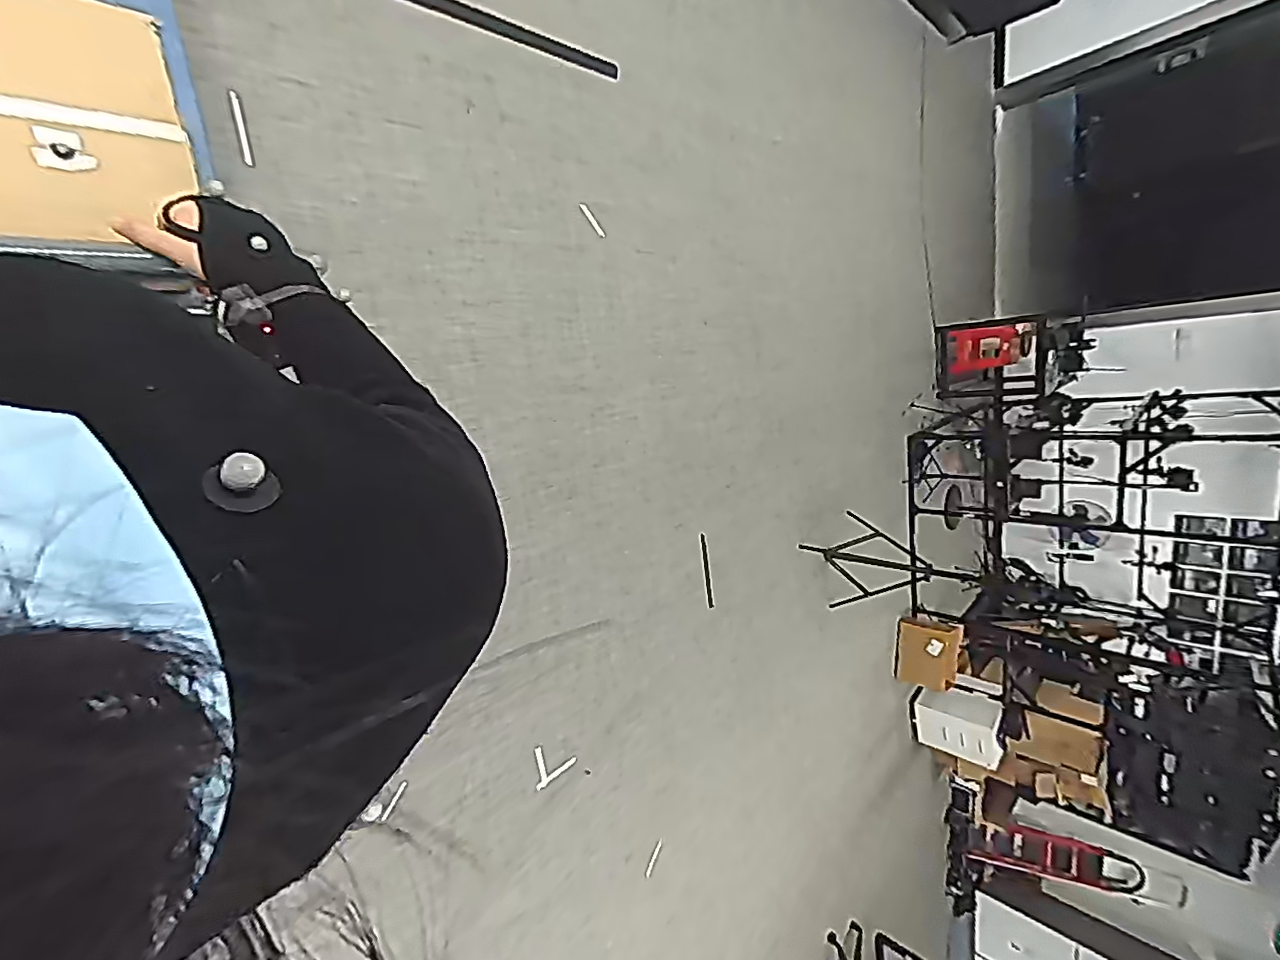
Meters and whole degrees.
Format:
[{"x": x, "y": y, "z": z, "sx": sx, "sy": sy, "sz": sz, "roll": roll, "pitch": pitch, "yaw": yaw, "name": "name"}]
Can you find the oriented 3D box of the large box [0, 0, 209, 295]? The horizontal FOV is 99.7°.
[{"x": -0.907, "y": -0.443, "z": 0.747, "sx": 0.408, "sy": 0.320, "sz": 0.320, "roll": -18, "pitch": 106, "yaw": -44, "name": "large box"}]
